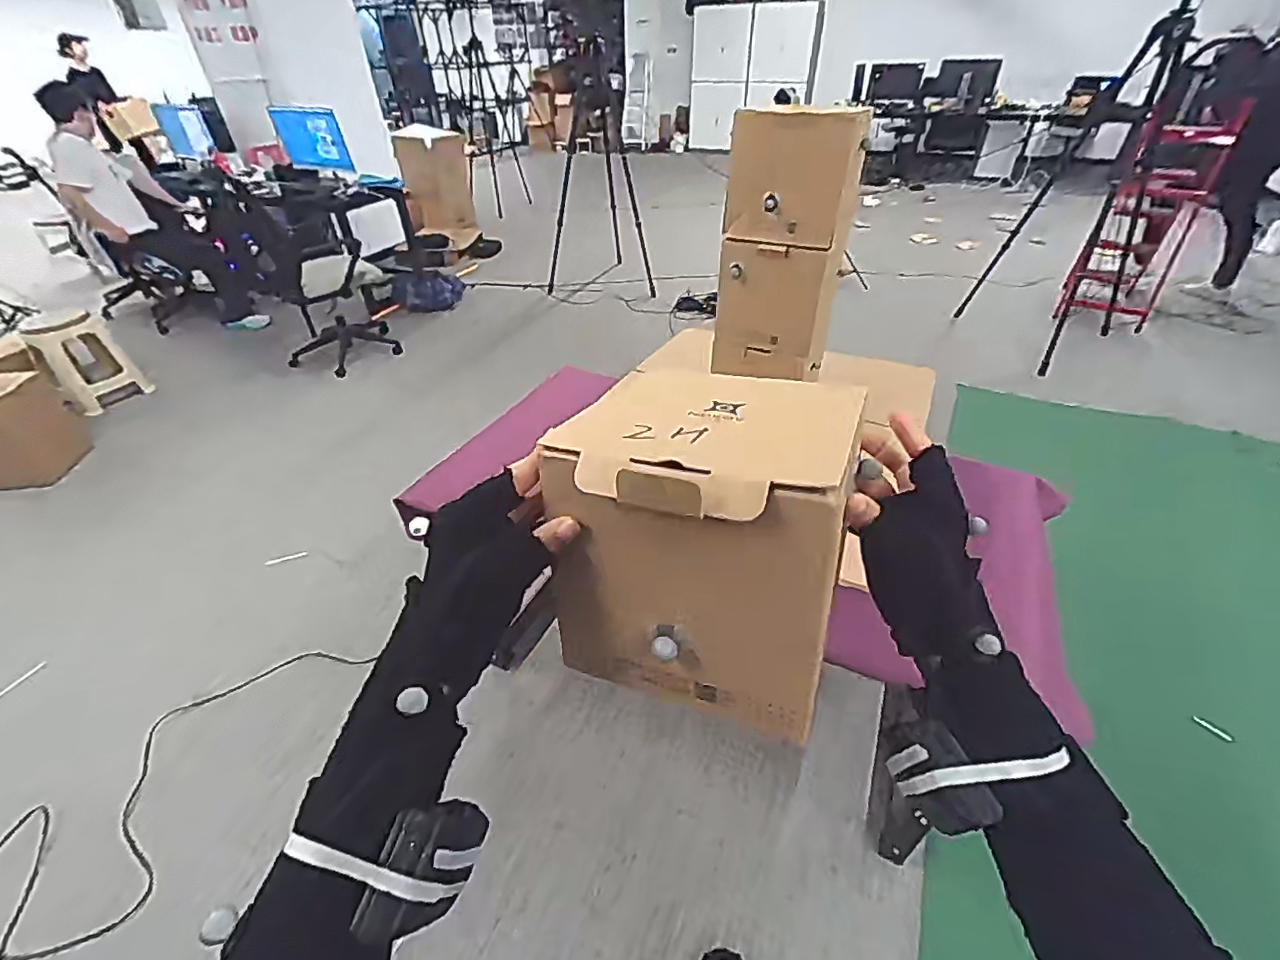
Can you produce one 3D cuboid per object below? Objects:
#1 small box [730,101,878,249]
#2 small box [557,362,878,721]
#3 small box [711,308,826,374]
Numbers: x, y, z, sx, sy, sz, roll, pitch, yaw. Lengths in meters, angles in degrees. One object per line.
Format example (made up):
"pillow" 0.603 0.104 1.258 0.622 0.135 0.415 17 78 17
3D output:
"small box" 0.243 -0.466 0.819 0.168 0.176 0.179 17 40 20
"small box" 0.061 0.025 0.379 0.168 0.176 0.179 9 29 23
"small box" 0.237 -0.202 1.015 0.168 0.176 0.179 16 42 20
